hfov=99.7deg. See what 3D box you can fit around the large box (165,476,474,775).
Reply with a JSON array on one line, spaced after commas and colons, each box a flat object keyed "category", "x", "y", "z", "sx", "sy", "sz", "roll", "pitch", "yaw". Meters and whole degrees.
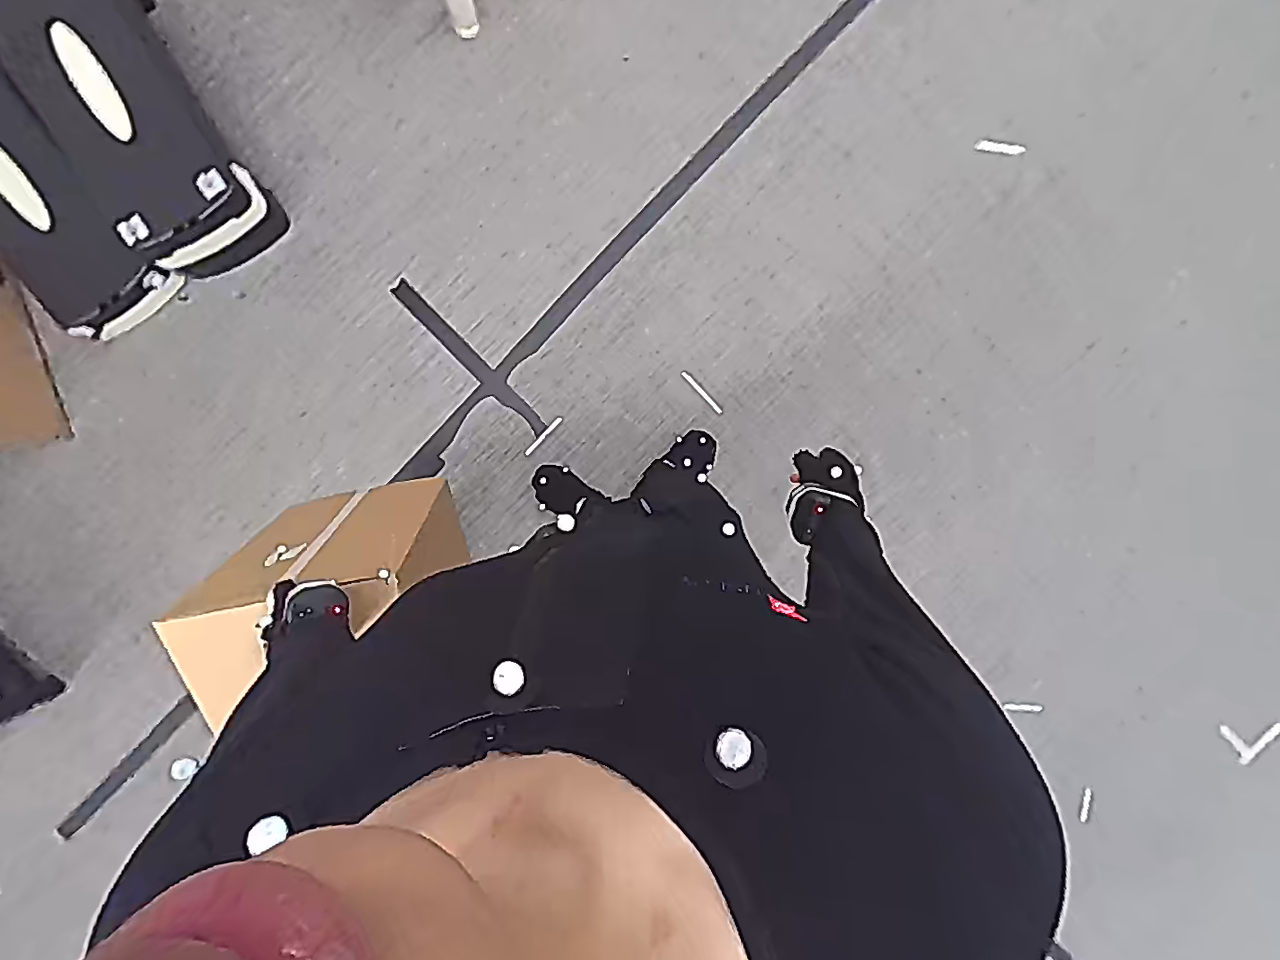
[{"category": "large box", "x": -0.498, "y": 0.222, "z": 0.963, "sx": 0.320, "sy": 0.408, "sz": 0.320, "roll": -10, "pitch": 113, "yaw": -6}]
